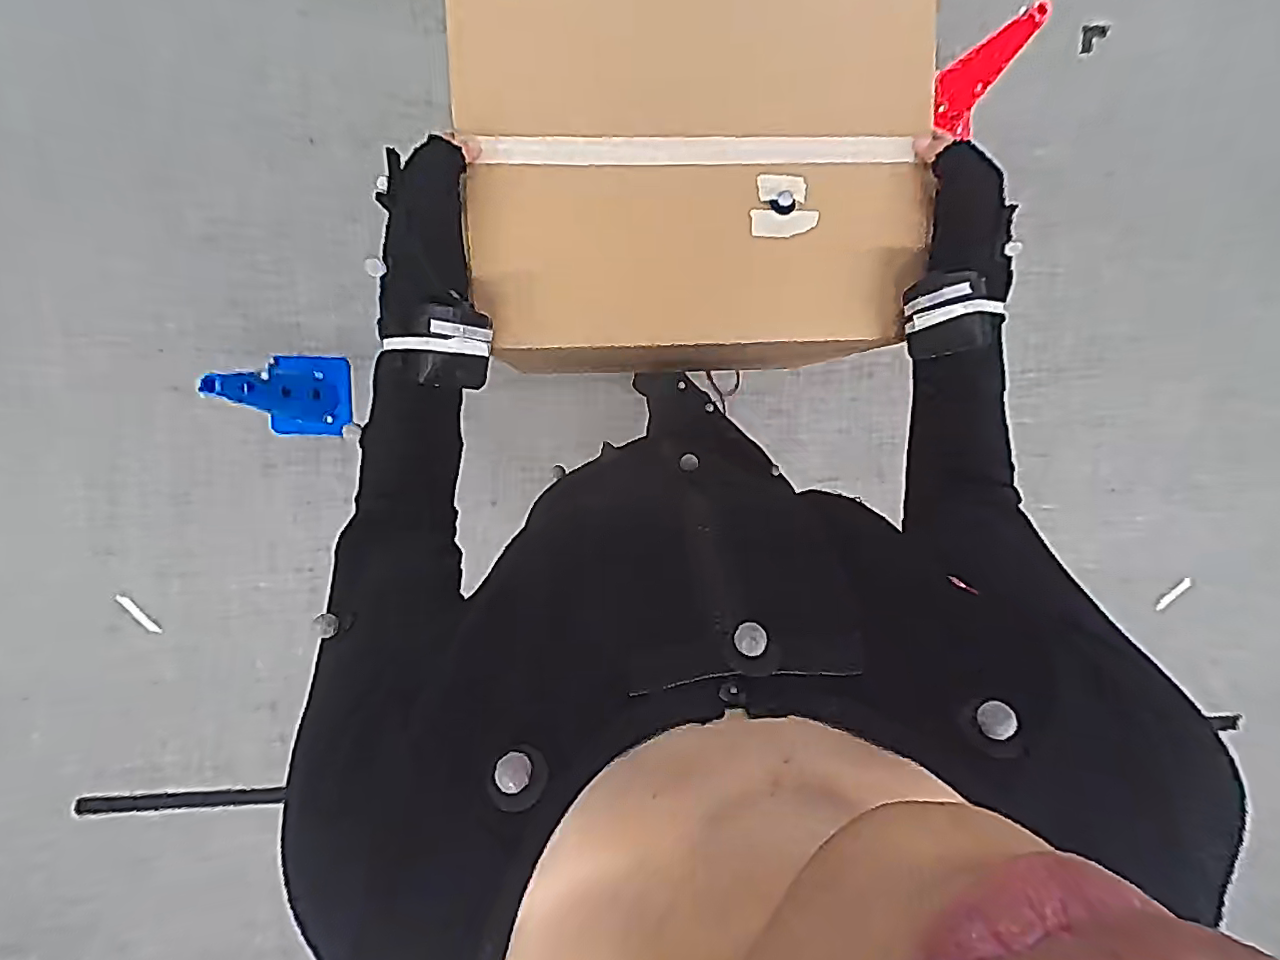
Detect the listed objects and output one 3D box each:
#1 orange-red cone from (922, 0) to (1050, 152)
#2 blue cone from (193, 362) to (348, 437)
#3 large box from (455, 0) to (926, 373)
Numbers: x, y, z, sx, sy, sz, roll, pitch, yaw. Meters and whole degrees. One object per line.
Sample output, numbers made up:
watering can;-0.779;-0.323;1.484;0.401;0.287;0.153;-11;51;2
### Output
orange-red cone;0.781;-0.952;1.246;0.198;0.360;0.199;-4;94;-4
blue cone;-0.838;-0.190;1.221;0.192;0.380;0.193;2;95;-3
large box;0.038;-0.298;0.609;0.408;0.320;0.320;-3;97;-5
